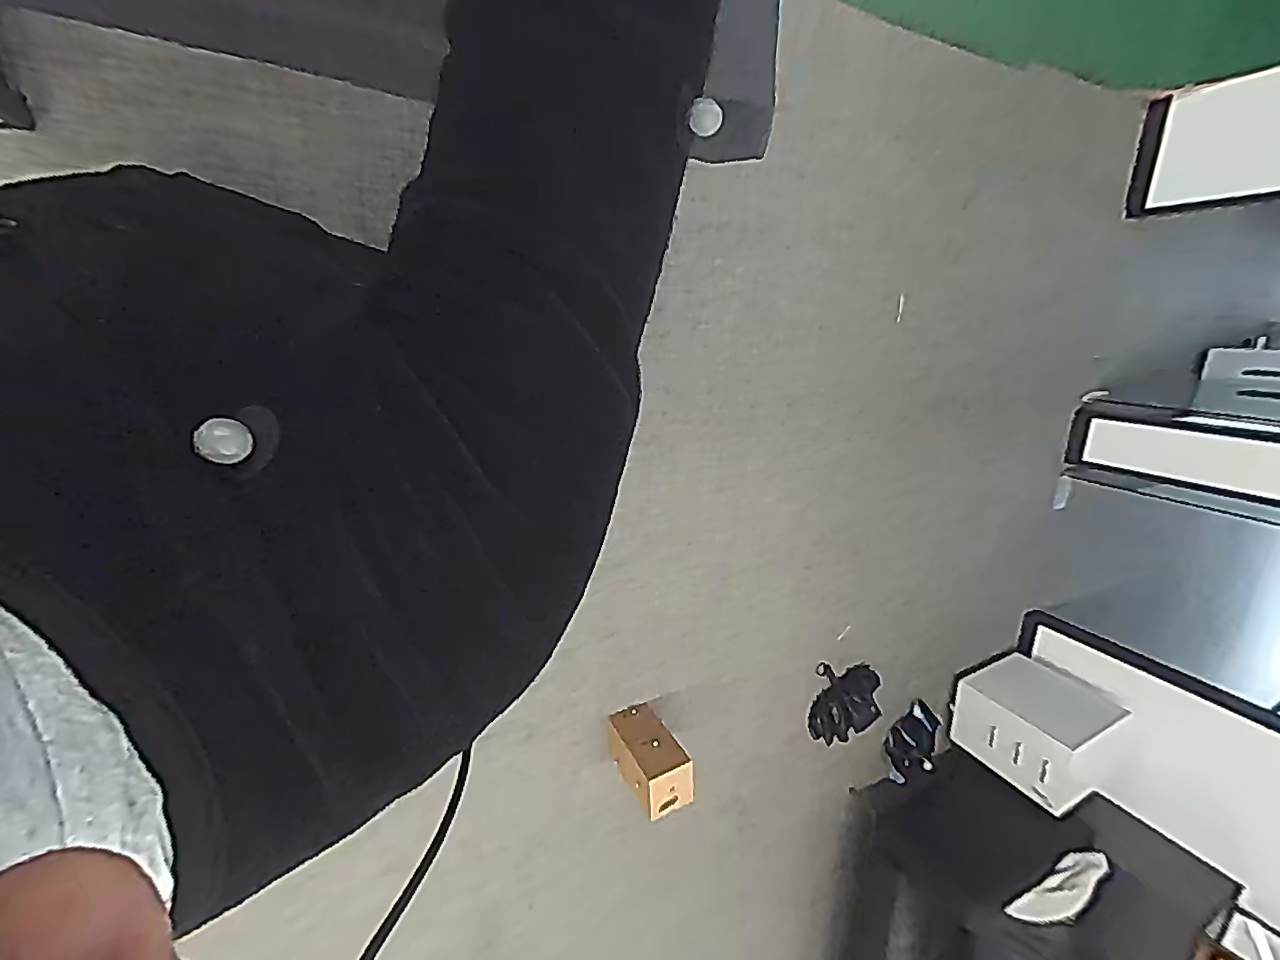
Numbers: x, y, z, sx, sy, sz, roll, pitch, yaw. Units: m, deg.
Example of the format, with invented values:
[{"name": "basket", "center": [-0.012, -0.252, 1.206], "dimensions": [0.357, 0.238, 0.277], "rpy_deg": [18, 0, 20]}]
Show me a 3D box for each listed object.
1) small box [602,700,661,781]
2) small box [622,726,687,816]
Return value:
[{"name": "small box", "center": [-0.031, 0.950, 1.985], "dimensions": [0.168, 0.176, 0.179], "rpy_deg": [-13, 110, -26]}, {"name": "small box", "center": [0.048, 0.987, 1.845], "dimensions": [0.168, 0.176, 0.179], "rpy_deg": [-13, 111, -26]}]
